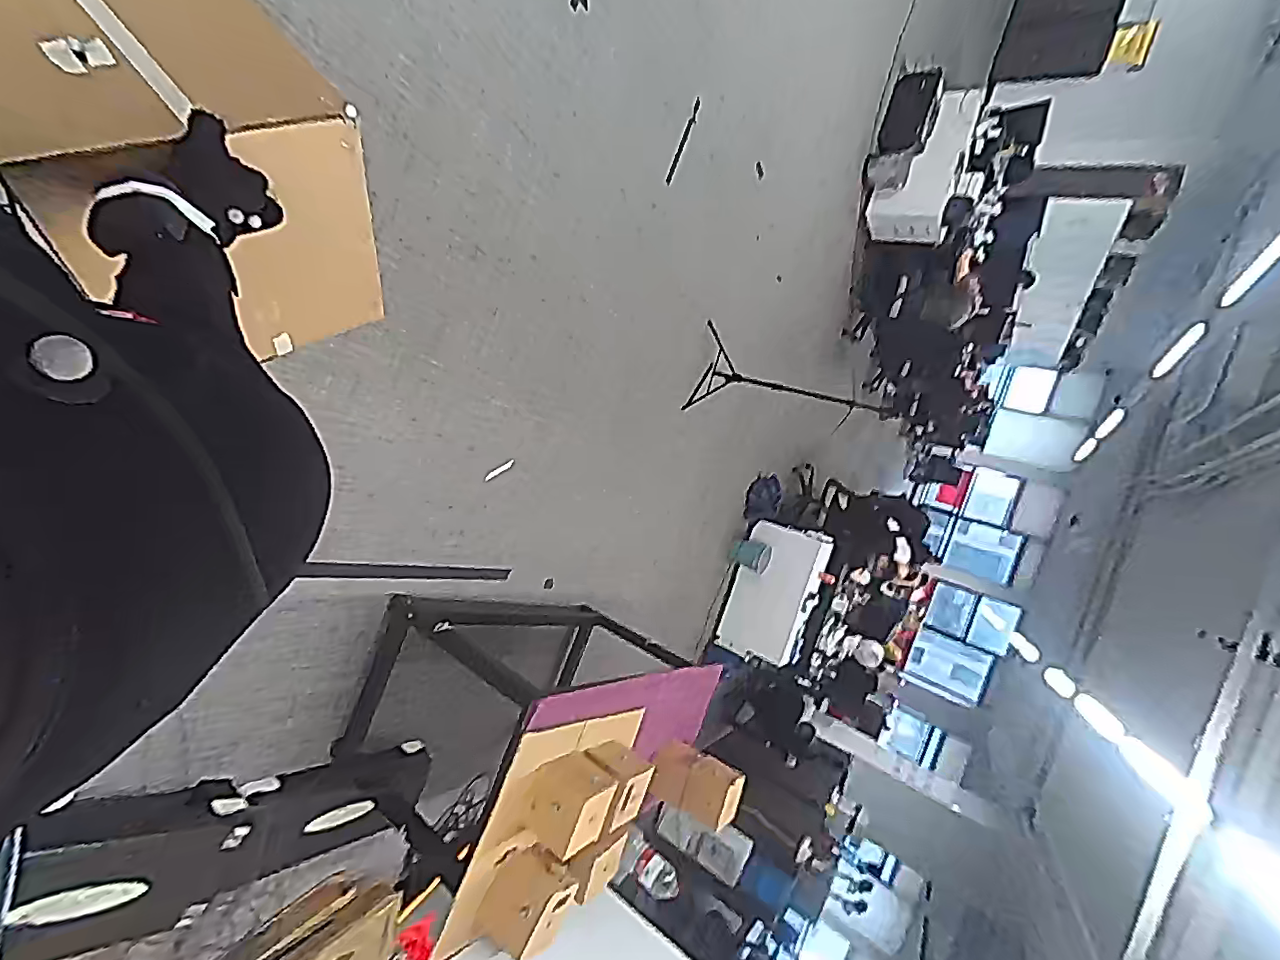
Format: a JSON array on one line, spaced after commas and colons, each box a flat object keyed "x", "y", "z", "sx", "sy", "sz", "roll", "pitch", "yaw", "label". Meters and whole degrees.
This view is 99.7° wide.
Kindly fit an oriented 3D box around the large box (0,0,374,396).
[{"x": -0.609, "y": -0.391, "z": 0.695, "sx": 0.320, "sy": 0.408, "sz": 0.320, "roll": -36, "pitch": 168, "yaw": -32, "label": "large box"}]
